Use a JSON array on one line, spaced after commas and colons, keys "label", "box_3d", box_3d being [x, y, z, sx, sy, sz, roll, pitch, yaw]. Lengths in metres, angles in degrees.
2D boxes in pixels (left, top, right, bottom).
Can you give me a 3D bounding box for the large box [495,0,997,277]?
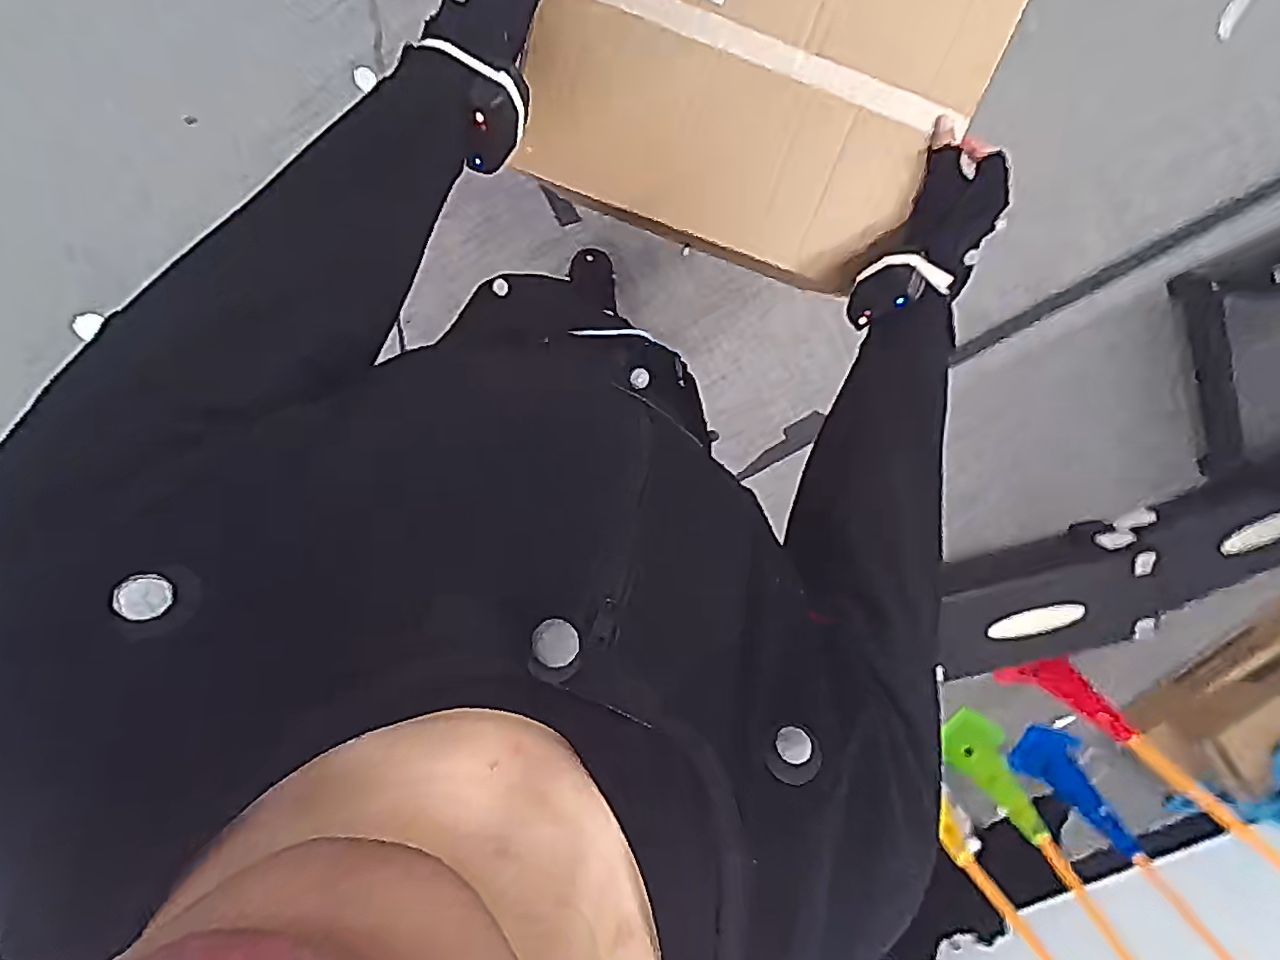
[{"label": "large box", "box_3d": [0.102, -0.452, 0.617, 0.408, 0.320, 0.320, 18, 111, -4]}]
